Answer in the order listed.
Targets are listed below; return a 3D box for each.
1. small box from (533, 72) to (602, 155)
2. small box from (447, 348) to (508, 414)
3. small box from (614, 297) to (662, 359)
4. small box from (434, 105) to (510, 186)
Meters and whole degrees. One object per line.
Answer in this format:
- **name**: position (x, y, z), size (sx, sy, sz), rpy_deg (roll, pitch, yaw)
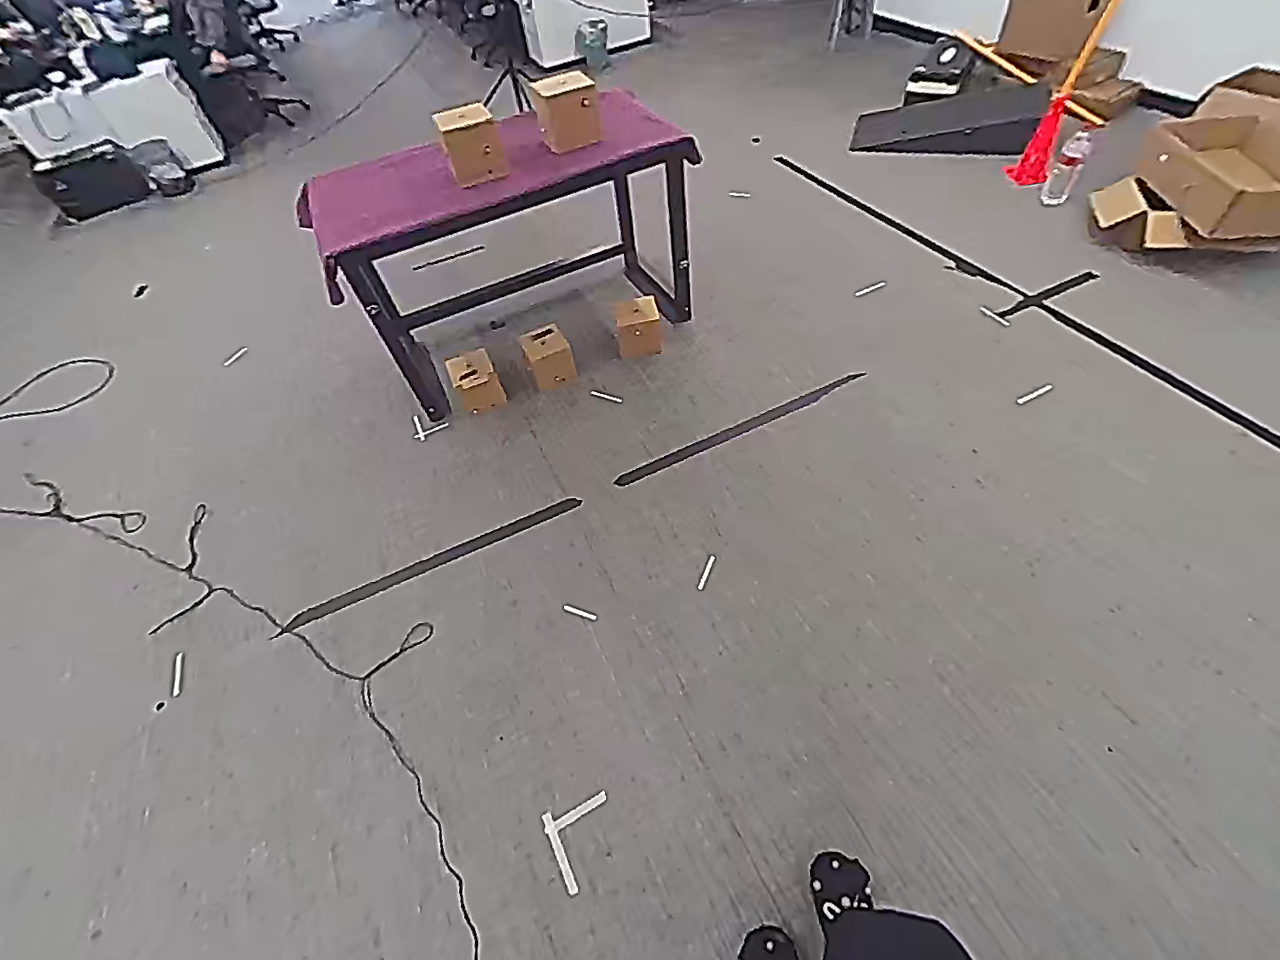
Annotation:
- **small box**: position (-0.235, -1.226, 1.811), size (0.179, 0.176, 0.168), rpy_deg (-23, 53, -9)
- **small box**: position (-0.643, -0.385, 2.148), size (0.168, 0.176, 0.179), rpy_deg (-23, 52, -10)
- **small box**: position (-0.005, -0.632, 2.252), size (0.179, 0.176, 0.168), rpy_deg (-11, 53, 0)
- **small box**: position (-0.534, -1.066, 1.732), size (0.168, 0.176, 0.179), rpy_deg (-23, 51, -11)
